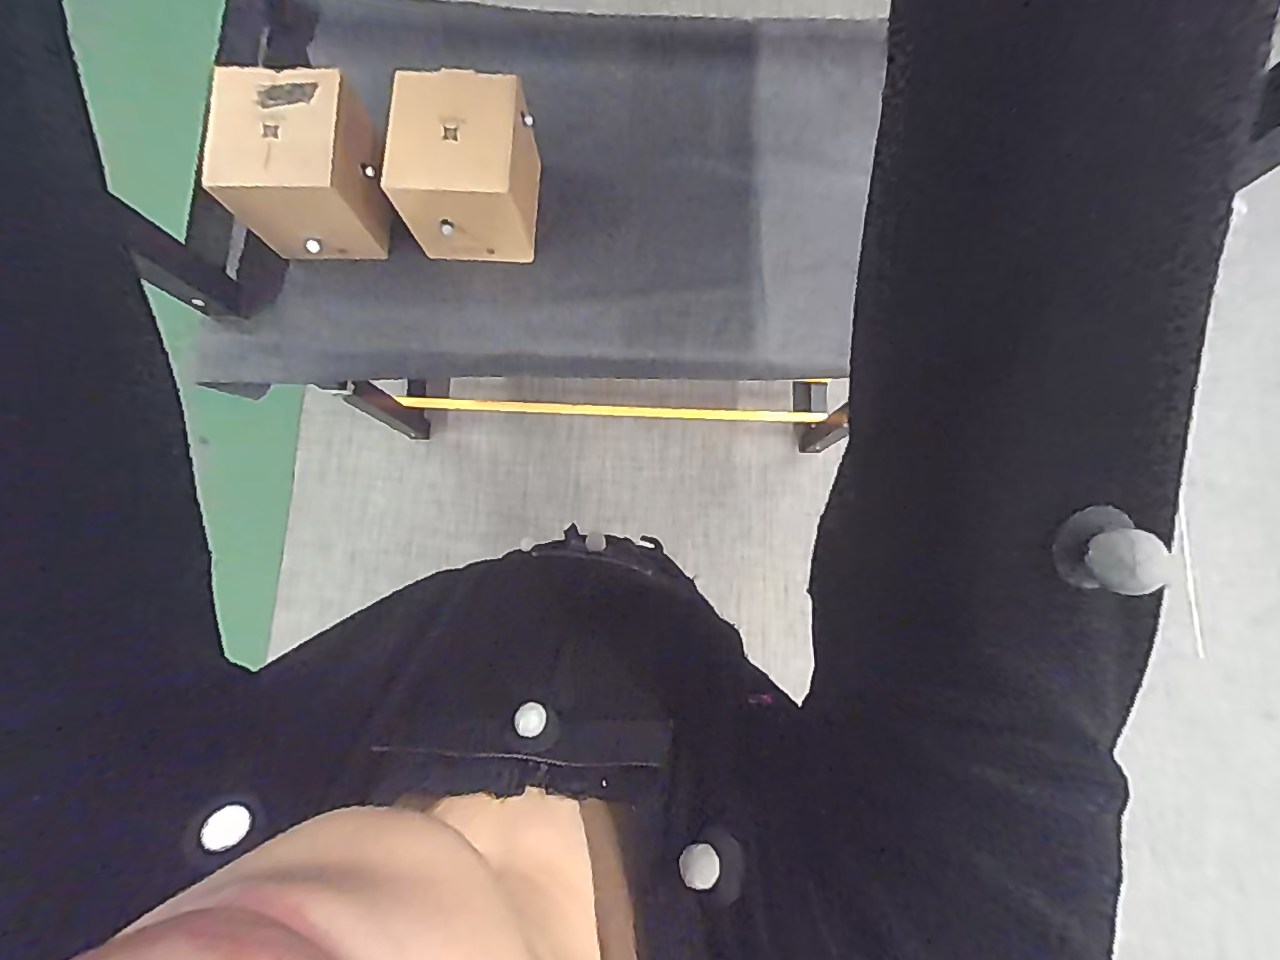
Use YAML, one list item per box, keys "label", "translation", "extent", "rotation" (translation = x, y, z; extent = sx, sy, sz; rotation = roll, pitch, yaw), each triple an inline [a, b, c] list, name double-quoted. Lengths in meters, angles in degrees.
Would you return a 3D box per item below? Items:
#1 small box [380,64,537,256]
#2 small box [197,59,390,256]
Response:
- label: "small box"
  translation: [-0.246, -0.443, 0.773]
  extent: [0.168, 0.176, 0.179]
  rotation: [2, 80, -1]
- label: "small box"
  translation: [-0.472, -0.447, 0.768]
  extent: [0.168, 0.176, 0.179]
  rotation: [0, 81, -1]
